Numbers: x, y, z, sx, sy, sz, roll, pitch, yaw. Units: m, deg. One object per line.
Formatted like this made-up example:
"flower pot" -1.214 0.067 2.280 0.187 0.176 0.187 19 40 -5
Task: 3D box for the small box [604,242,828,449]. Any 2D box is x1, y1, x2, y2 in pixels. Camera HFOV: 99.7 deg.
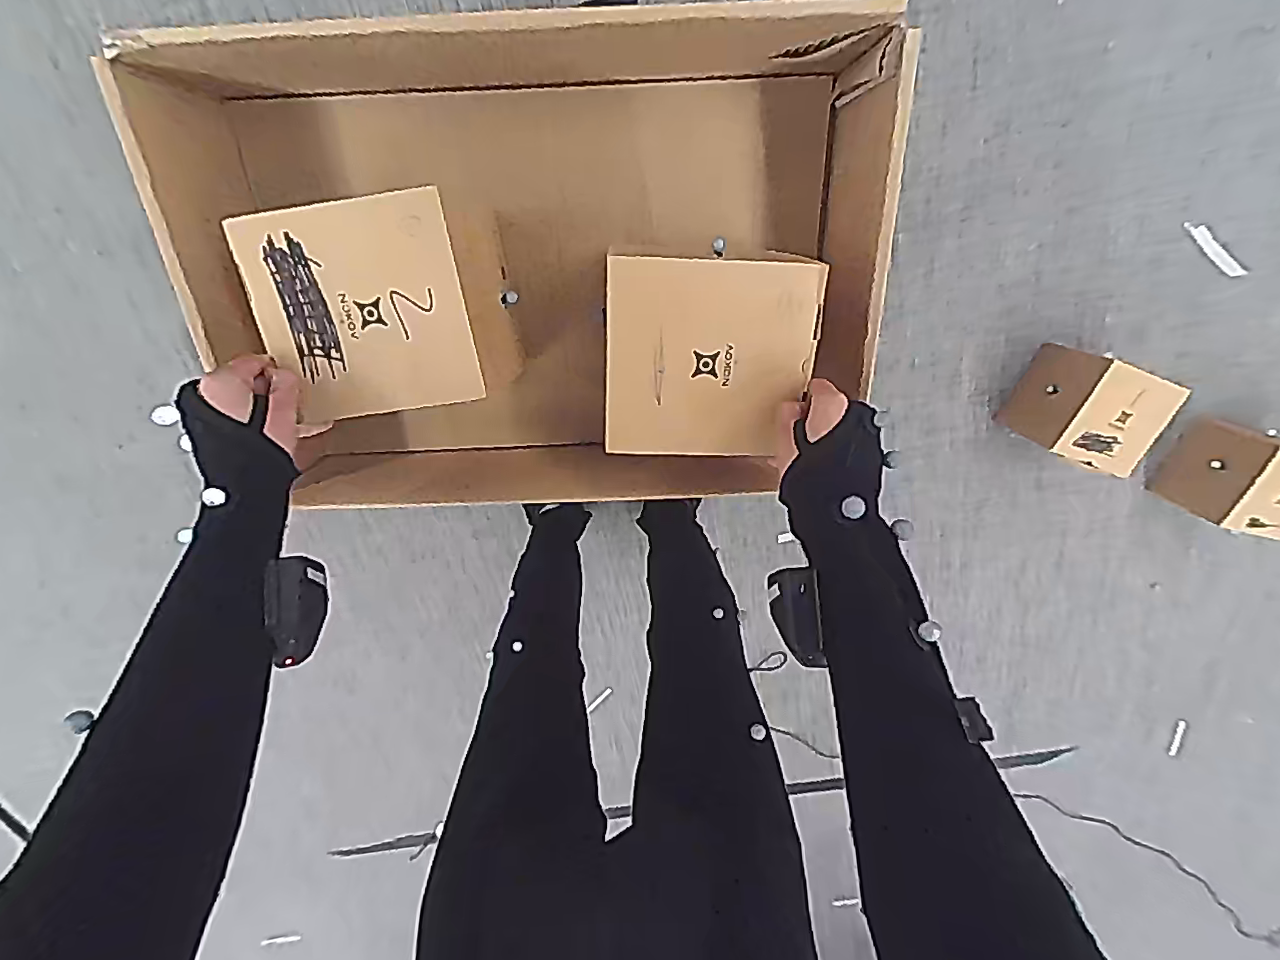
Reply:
"small box" 0.055 -0.137 0.525 0.179 0.176 0.168 0 115 -4

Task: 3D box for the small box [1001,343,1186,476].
"small box" 0.825 -0.137 1.011 0.168 0.176 0.179 18 112 -9

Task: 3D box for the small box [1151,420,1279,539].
"small box" 1.193 -0.006 1.074 0.168 0.176 0.179 12 112 -5
